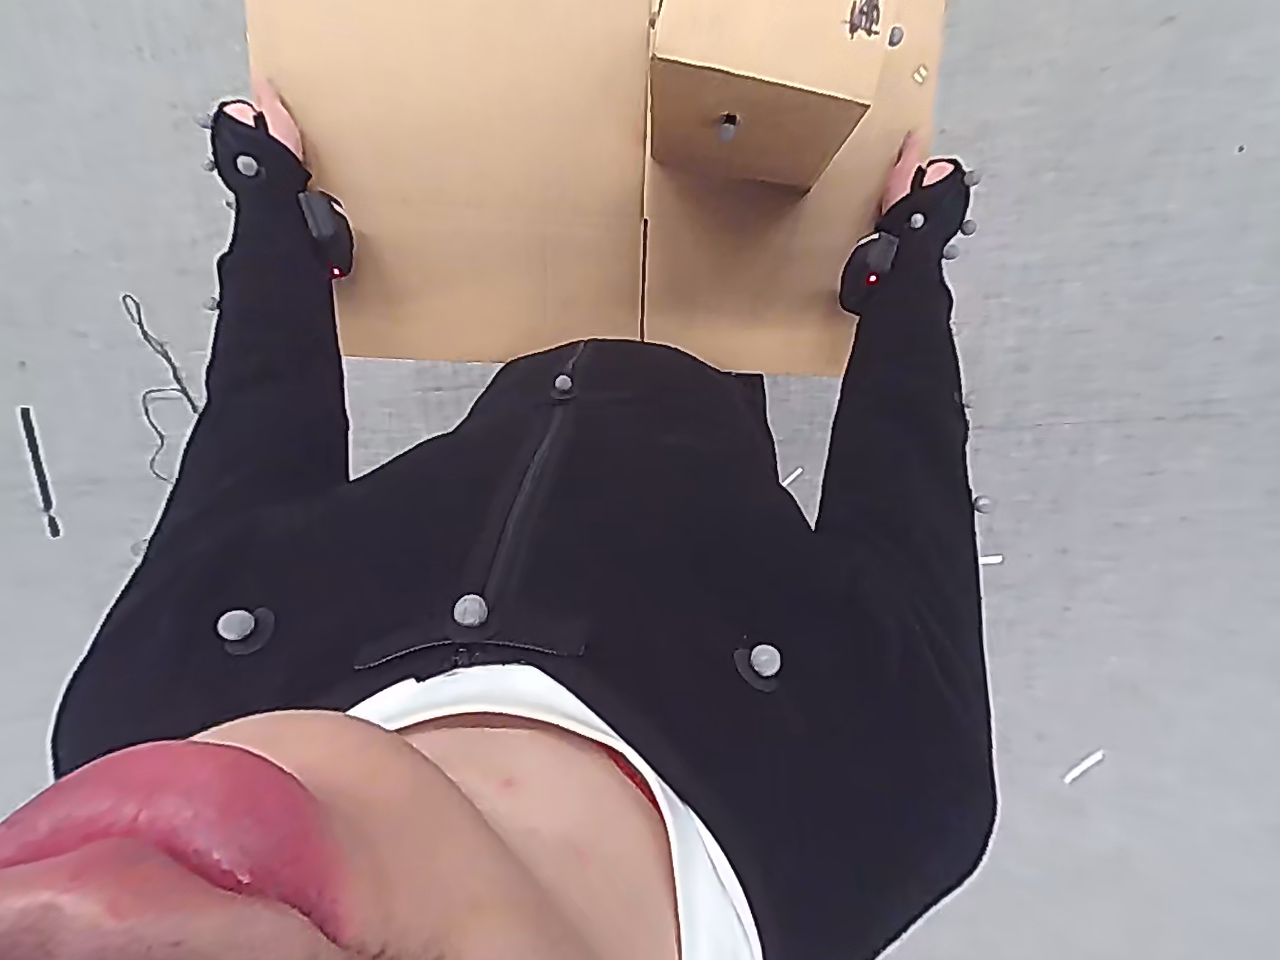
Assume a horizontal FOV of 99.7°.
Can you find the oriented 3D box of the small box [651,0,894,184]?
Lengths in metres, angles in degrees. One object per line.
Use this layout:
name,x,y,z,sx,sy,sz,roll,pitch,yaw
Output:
small box,0.113,-0.396,0.488,0.179,0.176,0.168,12,98,1
